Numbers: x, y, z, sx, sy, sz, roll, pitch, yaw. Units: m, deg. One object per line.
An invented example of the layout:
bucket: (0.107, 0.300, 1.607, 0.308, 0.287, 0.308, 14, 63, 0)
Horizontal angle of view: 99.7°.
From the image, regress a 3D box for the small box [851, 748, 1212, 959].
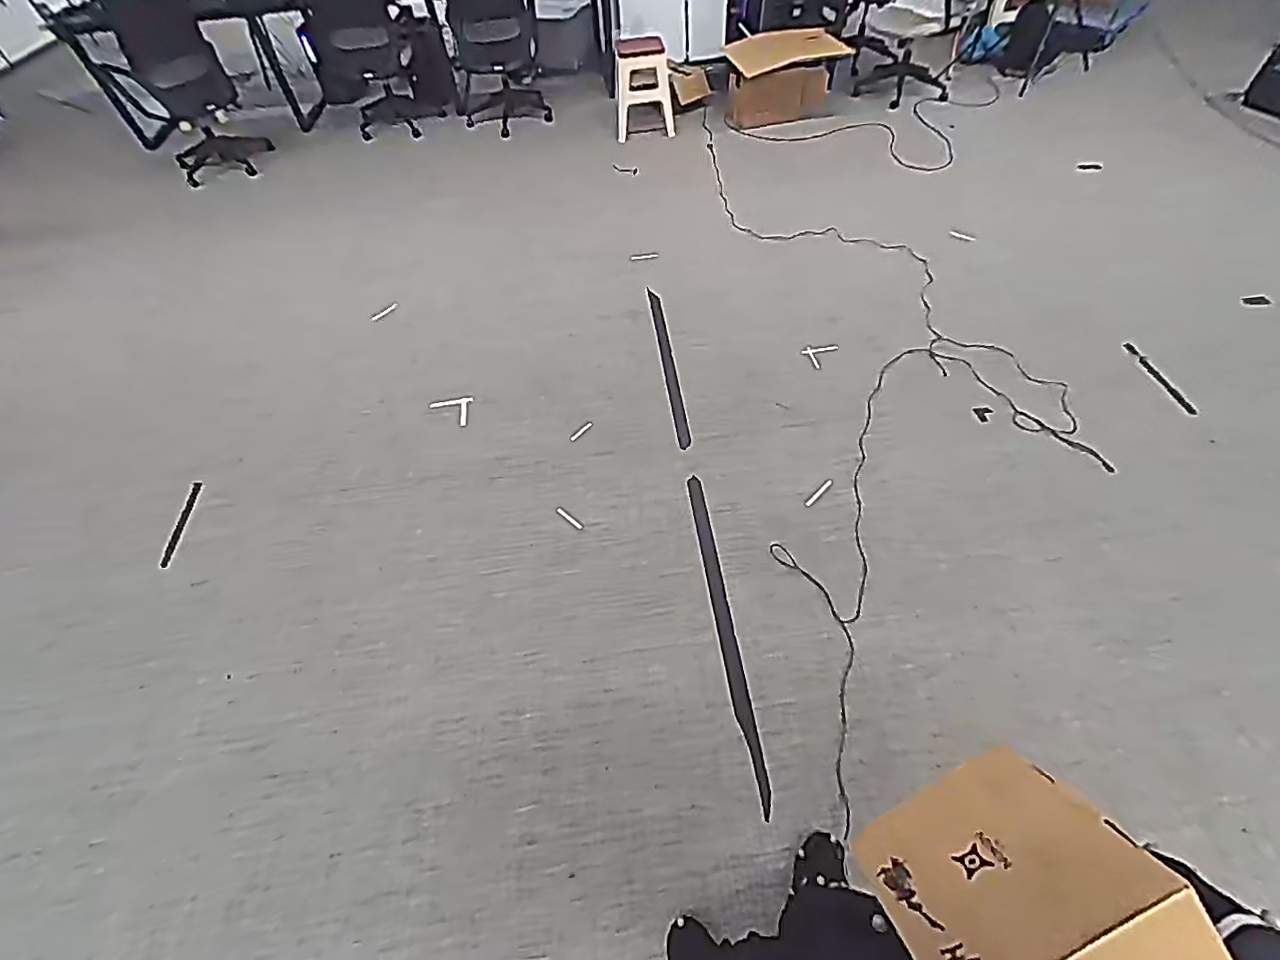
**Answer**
small box: (0.316, 0.370, 0.438, 0.179, 0.168, 0.176, -31, 93, -1)
